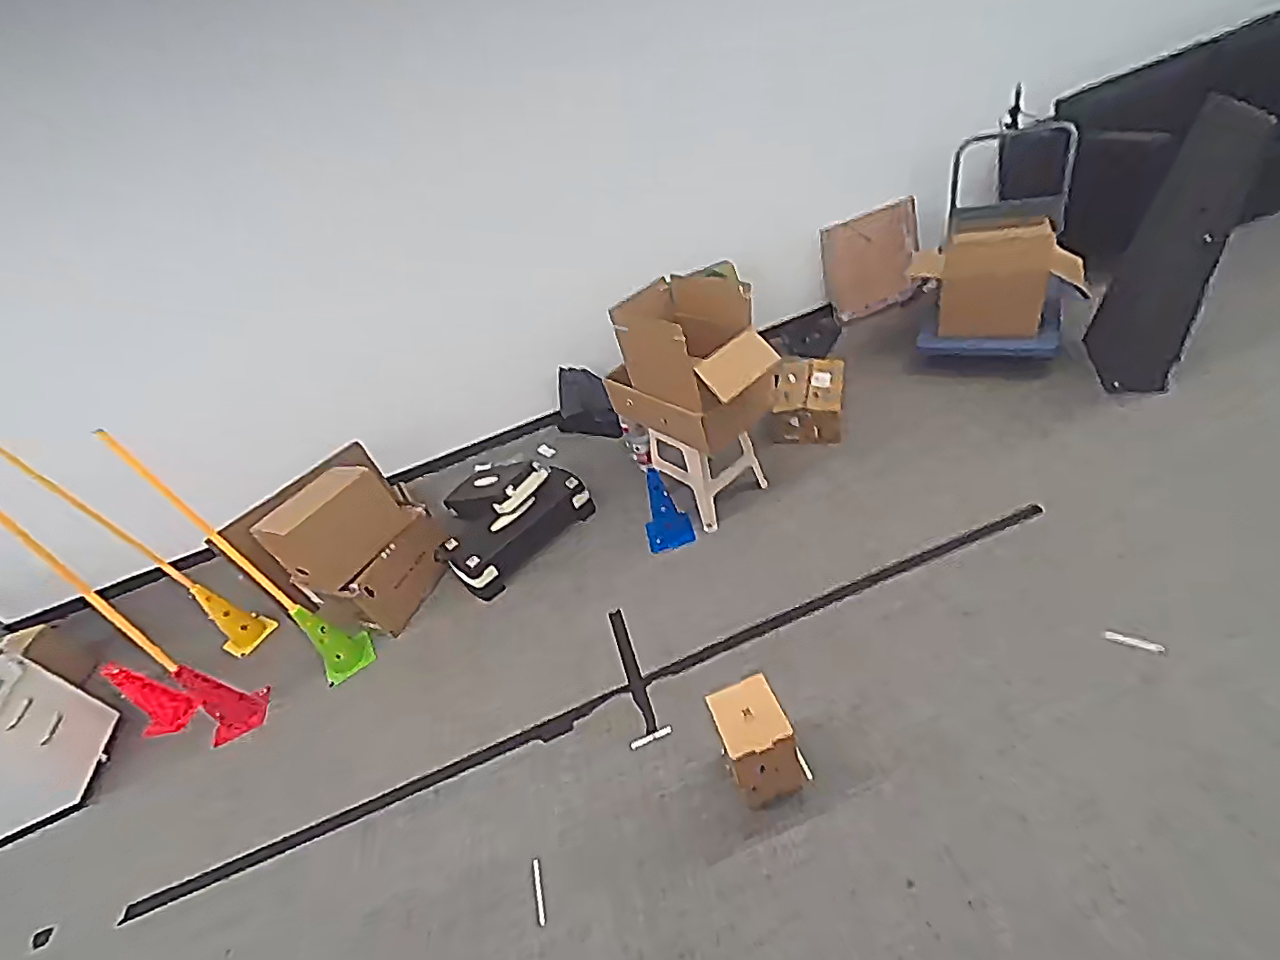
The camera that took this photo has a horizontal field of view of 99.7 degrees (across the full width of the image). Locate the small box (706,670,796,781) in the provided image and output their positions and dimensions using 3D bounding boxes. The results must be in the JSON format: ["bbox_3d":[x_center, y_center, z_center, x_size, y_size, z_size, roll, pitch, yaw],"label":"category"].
[{"bbox_3d":[0.287,0.636,1.400,0.168,0.176,0.179,-22,38,-5],"label":"small box"}]
